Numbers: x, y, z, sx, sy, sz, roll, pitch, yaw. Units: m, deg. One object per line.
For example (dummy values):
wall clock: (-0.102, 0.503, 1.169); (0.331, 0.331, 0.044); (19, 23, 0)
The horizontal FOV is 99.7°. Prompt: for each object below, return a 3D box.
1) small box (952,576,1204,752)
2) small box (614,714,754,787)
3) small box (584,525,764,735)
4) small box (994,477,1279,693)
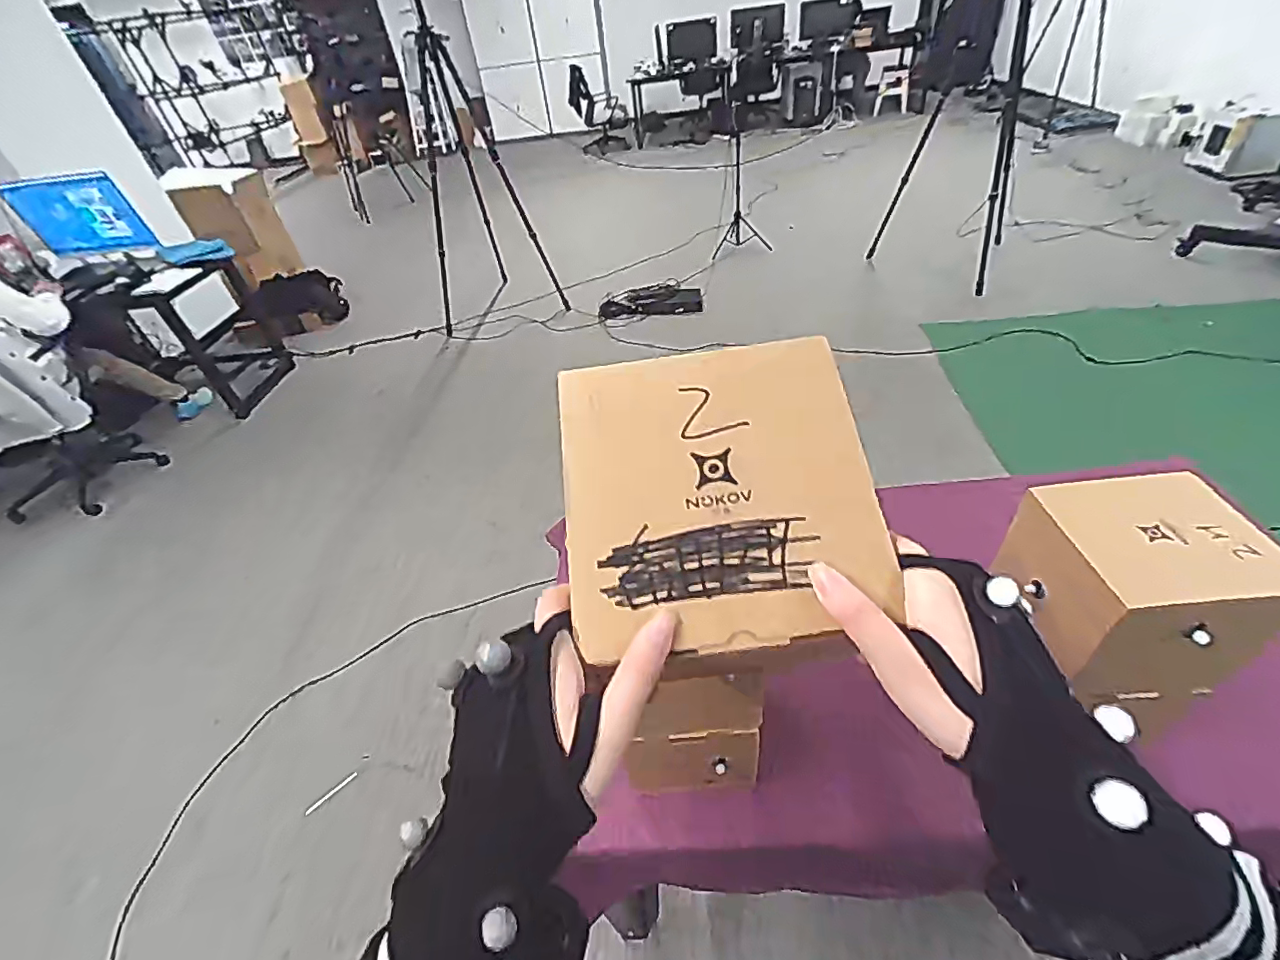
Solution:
small box: (0.545, 0.240, 0.709); (0.168, 0.176, 0.179); (-5, 42, 4)
small box: (0.059, 0.296, 0.731); (0.168, 0.176, 0.179); (-5, 41, 3)
small box: (0.037, 0.175, 0.624); (0.179, 0.176, 0.168); (-6, 42, 1)
small box: (0.528, 0.119, 0.598); (0.179, 0.176, 0.168); (-5, 42, 4)
